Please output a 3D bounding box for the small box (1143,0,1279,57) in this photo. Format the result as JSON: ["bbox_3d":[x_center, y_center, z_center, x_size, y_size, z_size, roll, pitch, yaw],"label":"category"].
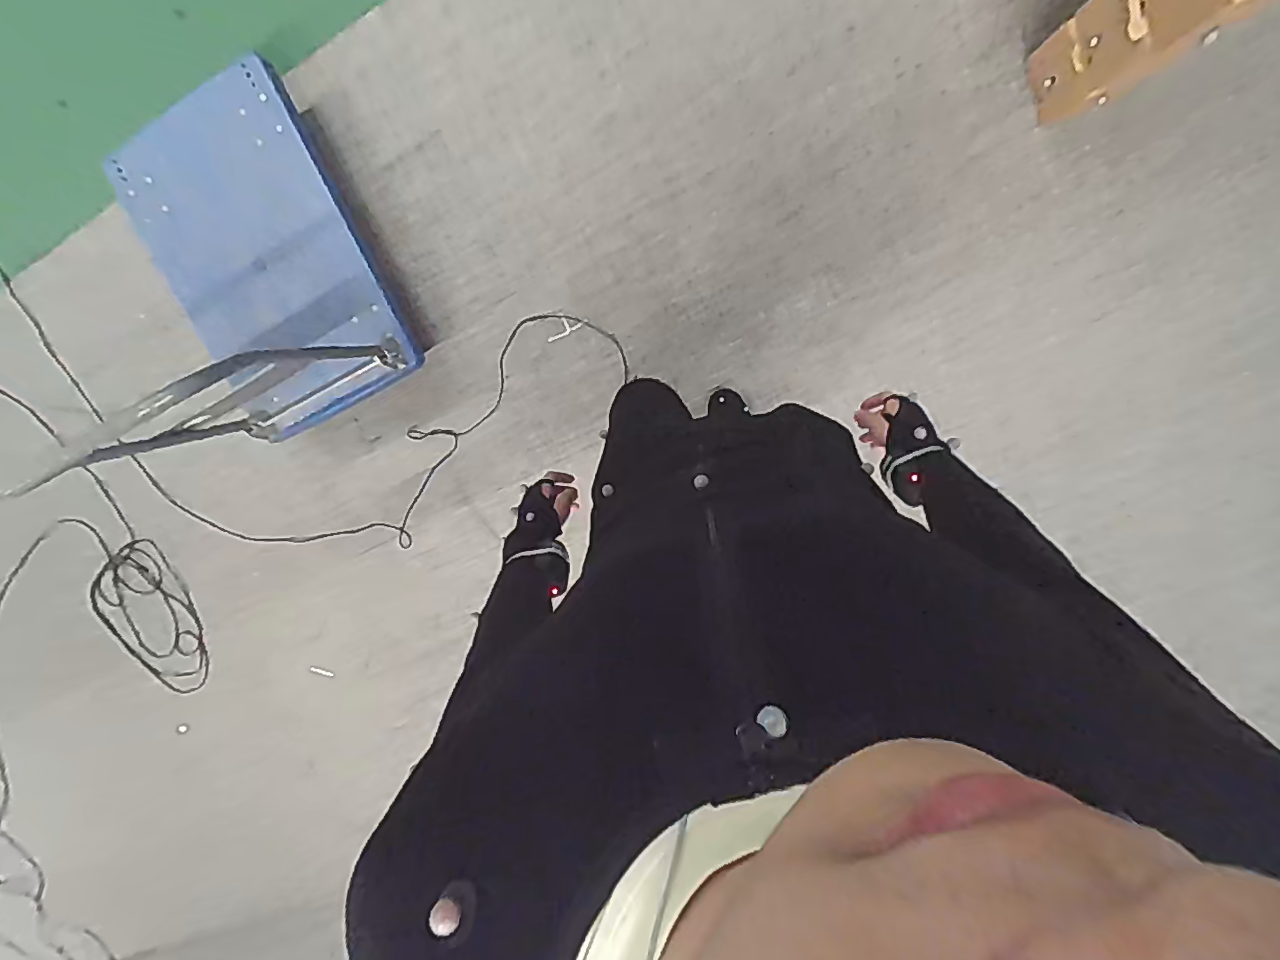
[{"bbox_3d":[0.989,-0.872,0.904,0.168,0.176,0.179,-17,100,12],"label":"small box"}]

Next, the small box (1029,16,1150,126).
[{"bbox_3d":[1.021,-0.947,1.222,0.179,0.176,0.168,-21,99,13],"label":"small box"}]

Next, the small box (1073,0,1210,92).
[{"bbox_3d":[1.008,-0.915,1.061,0.179,0.176,0.168,-17,99,11],"label":"small box"}]
